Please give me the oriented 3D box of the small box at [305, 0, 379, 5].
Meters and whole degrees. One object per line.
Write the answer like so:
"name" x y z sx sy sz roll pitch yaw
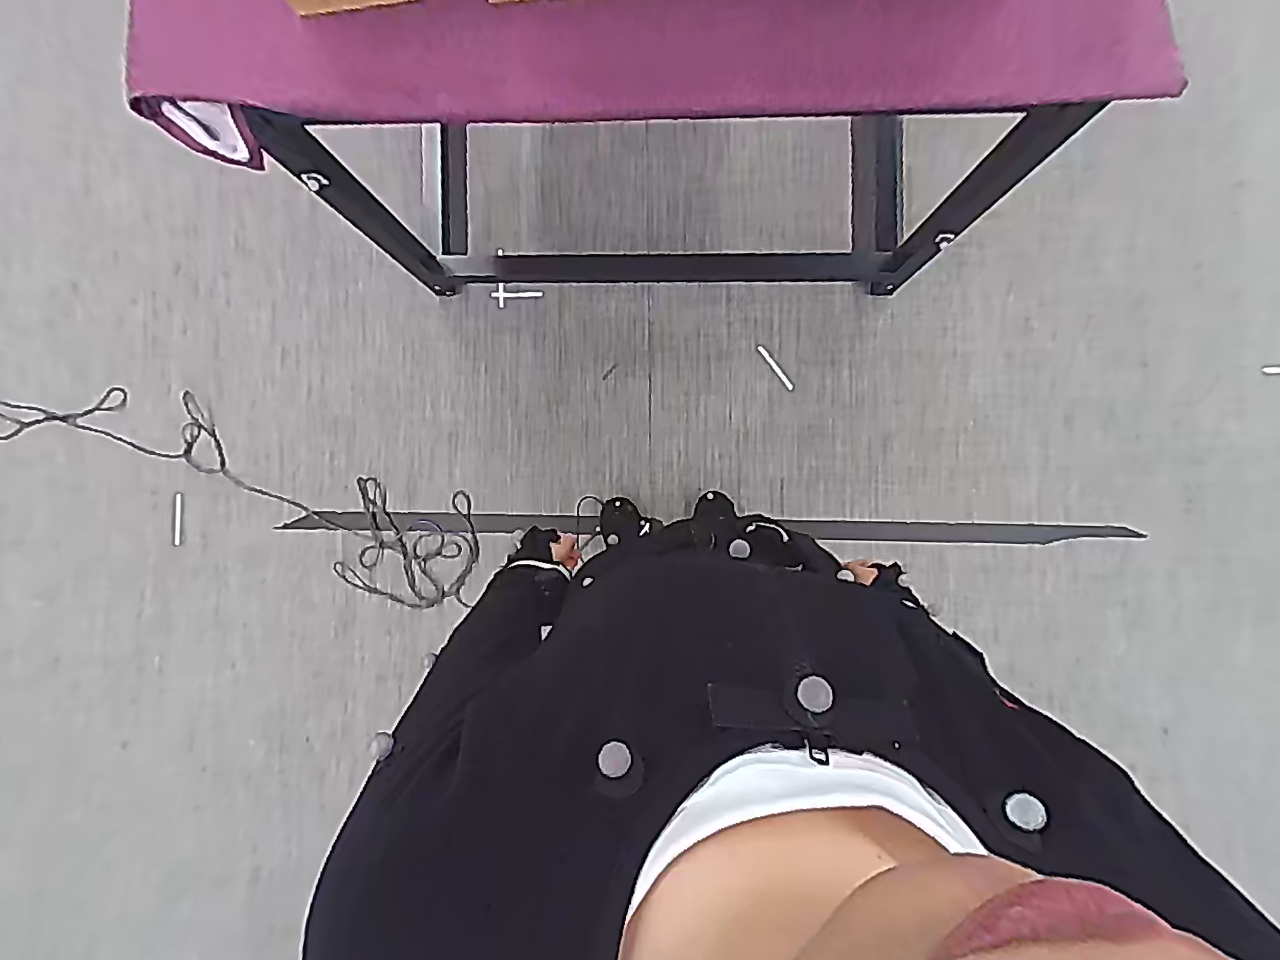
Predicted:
"small box" -0.368 -0.691 0.614 0.168 0.176 0.179 -7 88 2
